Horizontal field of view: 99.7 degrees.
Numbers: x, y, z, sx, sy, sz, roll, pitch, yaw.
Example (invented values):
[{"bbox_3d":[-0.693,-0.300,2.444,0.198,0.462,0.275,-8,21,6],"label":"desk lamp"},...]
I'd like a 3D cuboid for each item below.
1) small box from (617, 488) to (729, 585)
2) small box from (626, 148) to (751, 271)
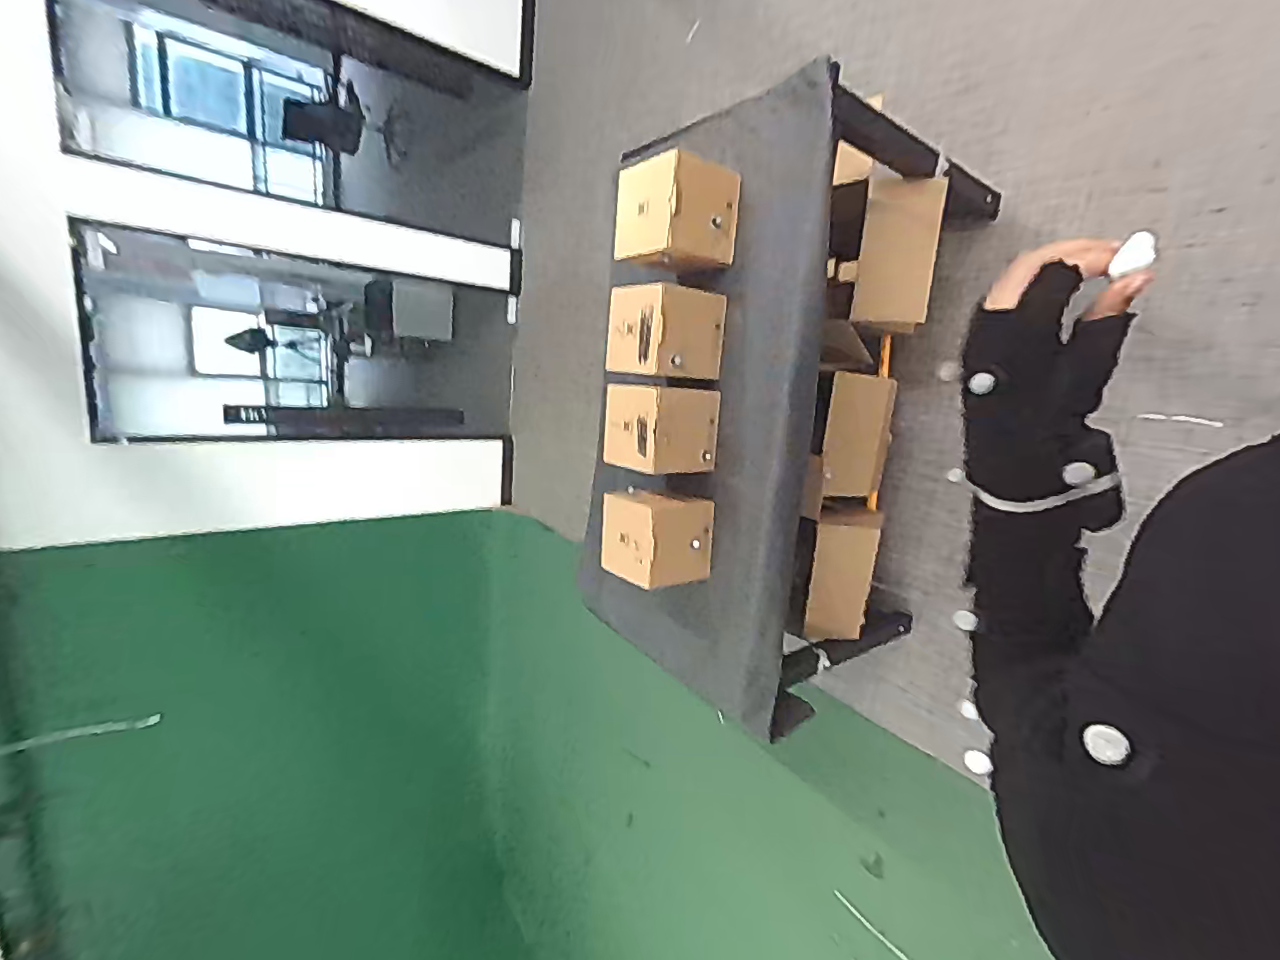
[{"bbox_3d":[0.068,0.112,1.168,0.179,0.176,0.168,13,104,53],"label":"small box"},{"bbox_3d":[0.093,-0.522,1.073,0.179,0.176,0.168,17,107,52],"label":"small box"}]
